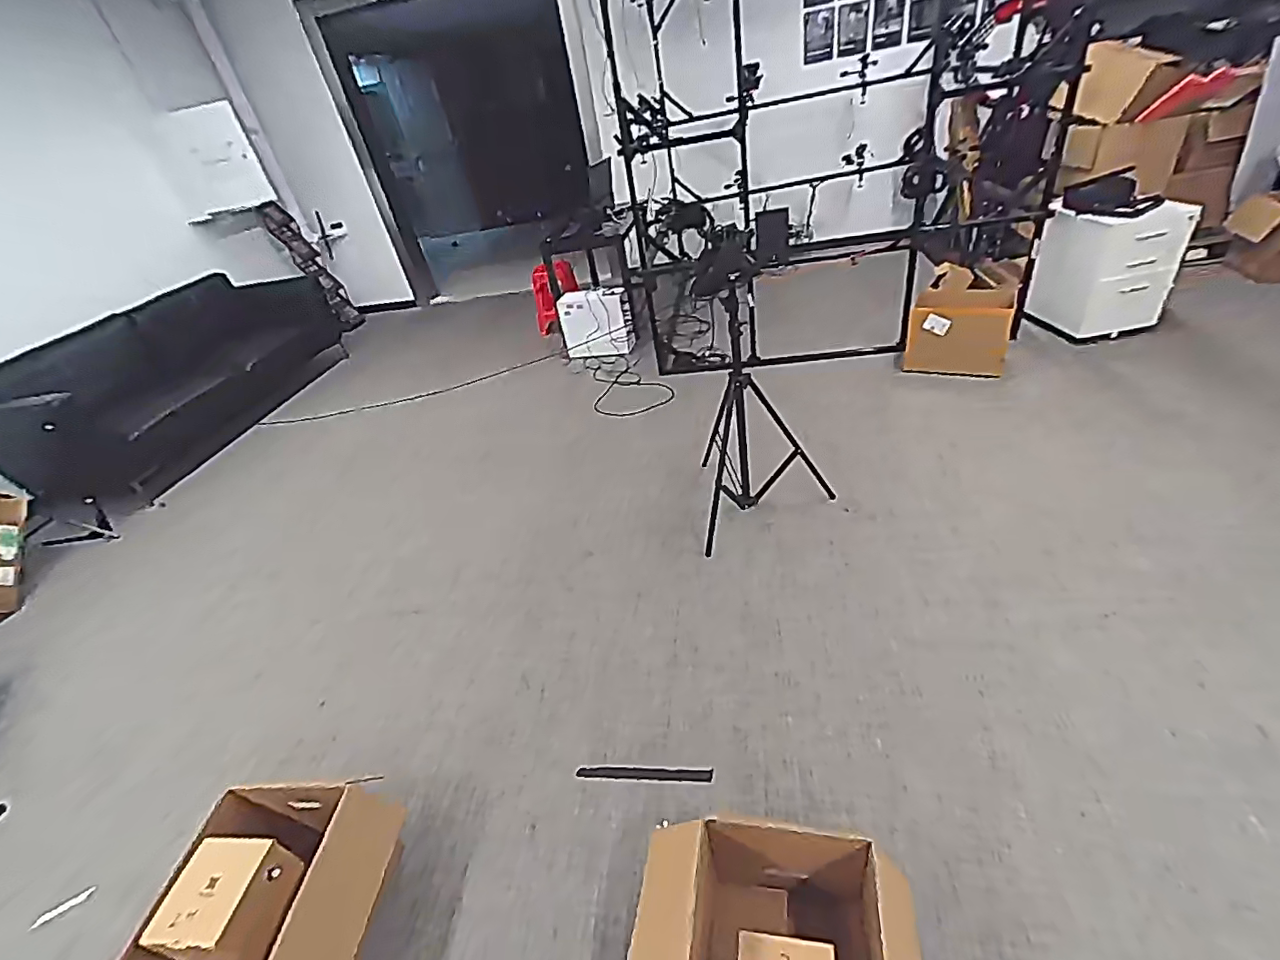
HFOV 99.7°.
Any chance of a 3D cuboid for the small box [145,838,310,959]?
[{"bbox_3d":[-0.808,0.856,1.089,0.168,0.176,0.179,-6,36,10],"label":"small box"}]
